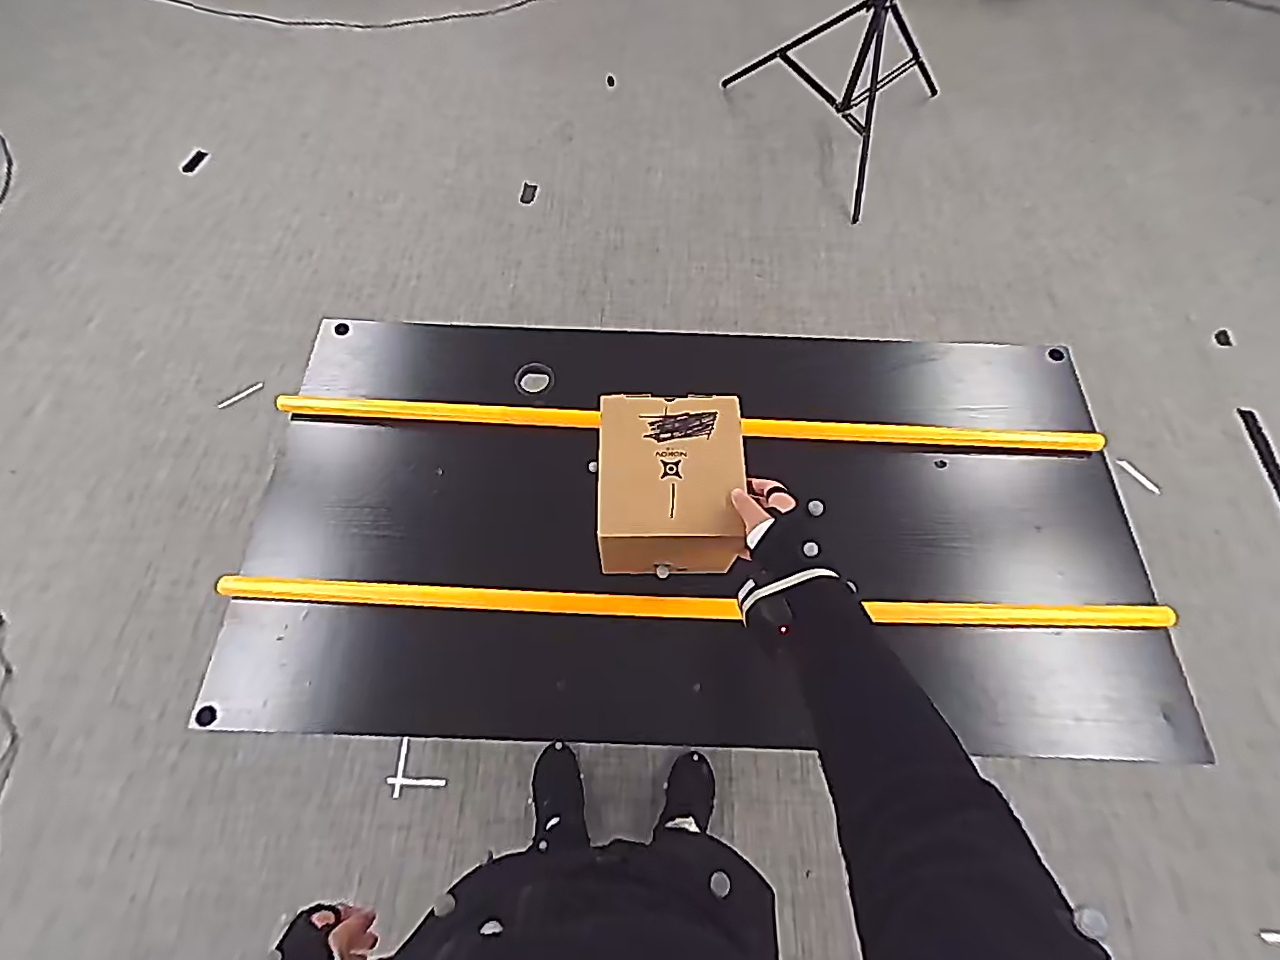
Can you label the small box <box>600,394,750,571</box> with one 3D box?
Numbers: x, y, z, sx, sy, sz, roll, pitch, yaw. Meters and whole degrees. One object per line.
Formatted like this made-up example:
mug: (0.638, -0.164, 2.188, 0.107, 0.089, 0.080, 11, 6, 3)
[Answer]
small box: (0.036, 0.009, 0.687, 0.168, 0.176, 0.179, 0, 67, -1)
